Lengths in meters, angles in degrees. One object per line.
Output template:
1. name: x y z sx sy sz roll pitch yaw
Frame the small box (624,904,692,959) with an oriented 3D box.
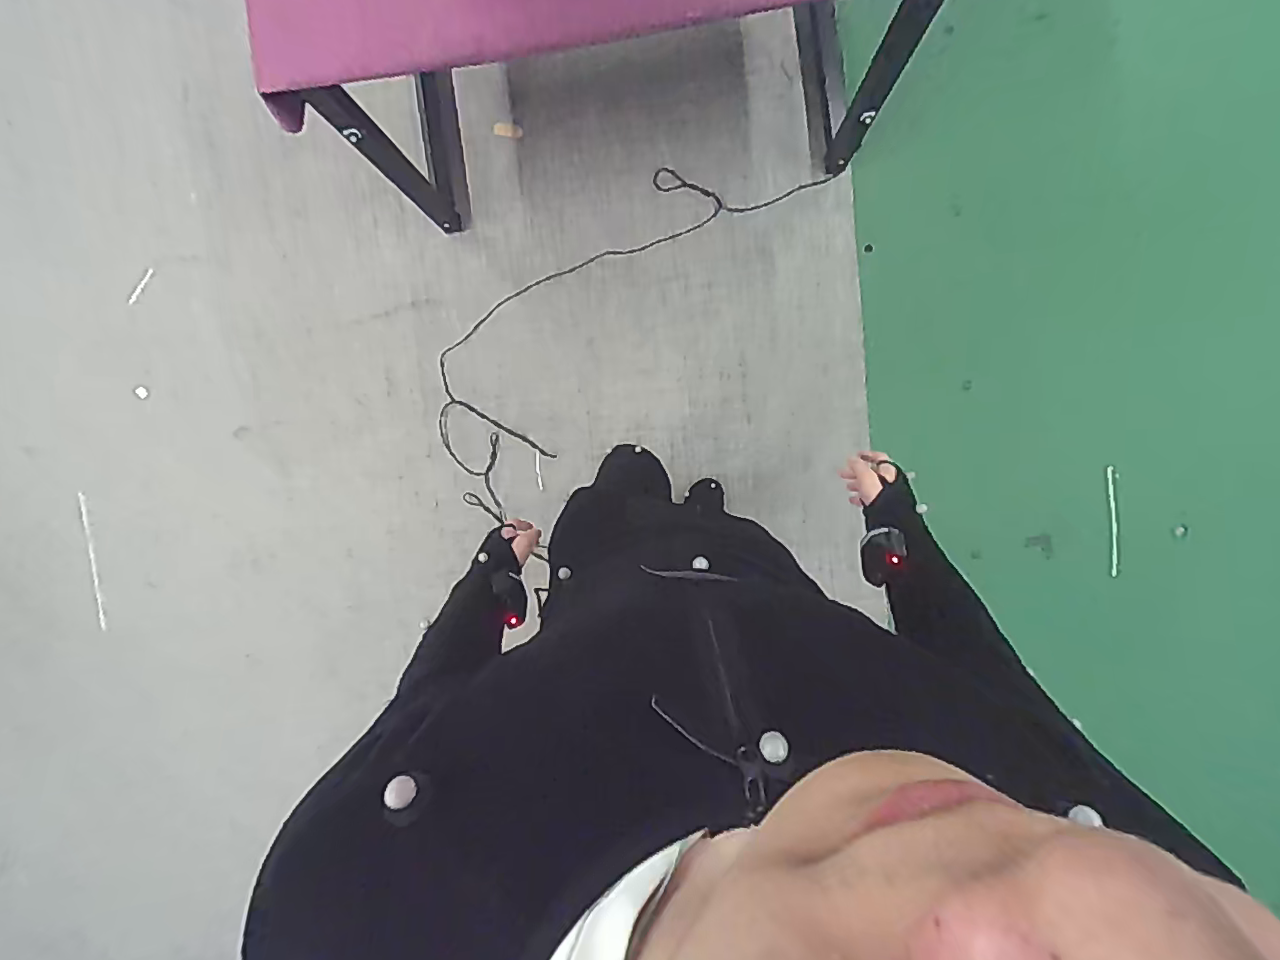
1. small box: 0.058 1.409 1.598 0.168 0.176 0.179 -12 92 5
